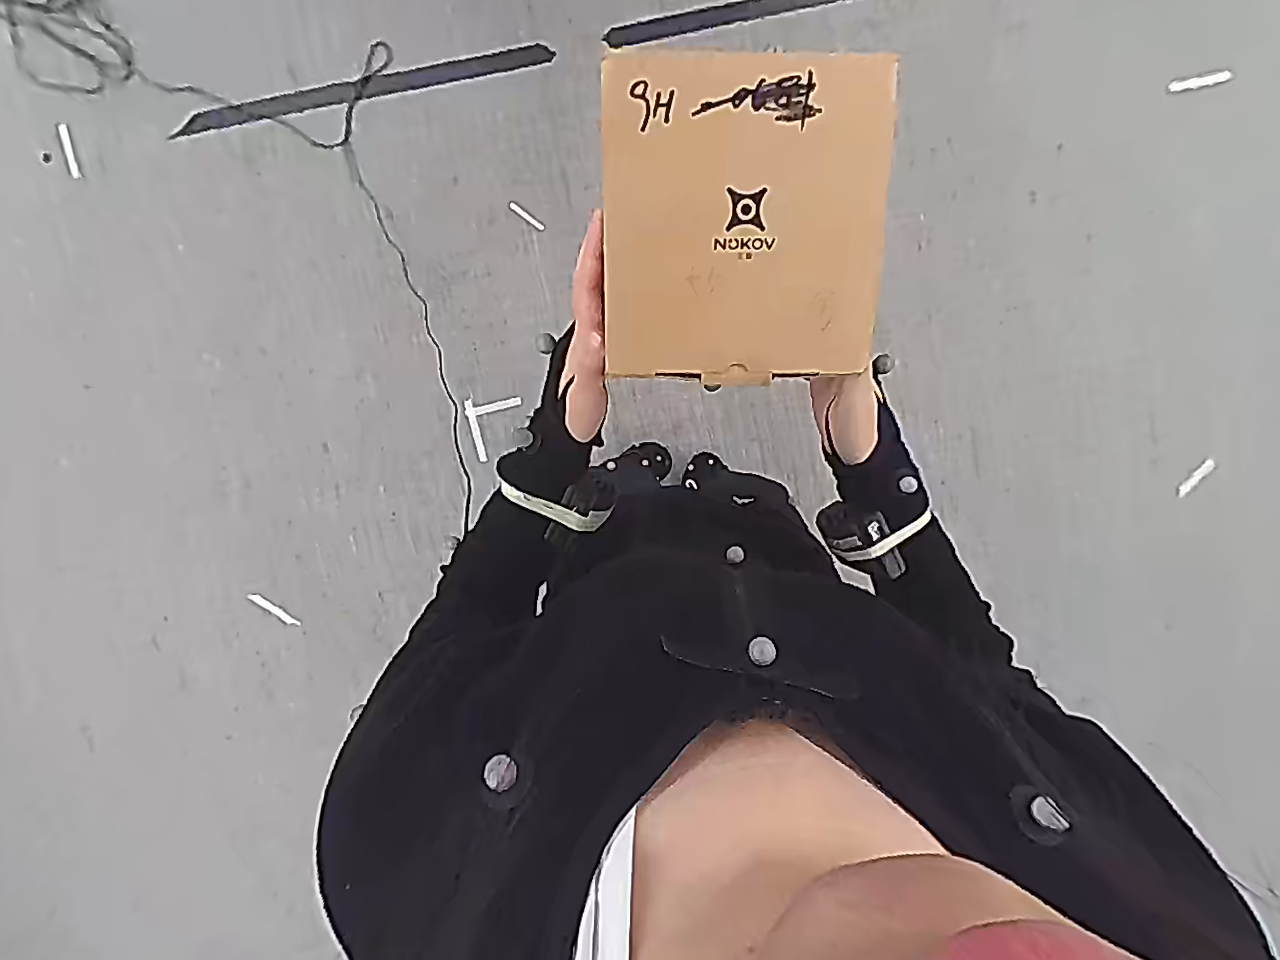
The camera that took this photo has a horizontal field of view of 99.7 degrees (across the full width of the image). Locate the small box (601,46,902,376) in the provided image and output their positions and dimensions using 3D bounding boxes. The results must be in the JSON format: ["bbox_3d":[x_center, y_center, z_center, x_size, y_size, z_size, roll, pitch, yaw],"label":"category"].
[{"bbox_3d":[0.059,-0.173,0.392,0.168,0.176,0.179,-1,106,-1],"label":"small box"}]
